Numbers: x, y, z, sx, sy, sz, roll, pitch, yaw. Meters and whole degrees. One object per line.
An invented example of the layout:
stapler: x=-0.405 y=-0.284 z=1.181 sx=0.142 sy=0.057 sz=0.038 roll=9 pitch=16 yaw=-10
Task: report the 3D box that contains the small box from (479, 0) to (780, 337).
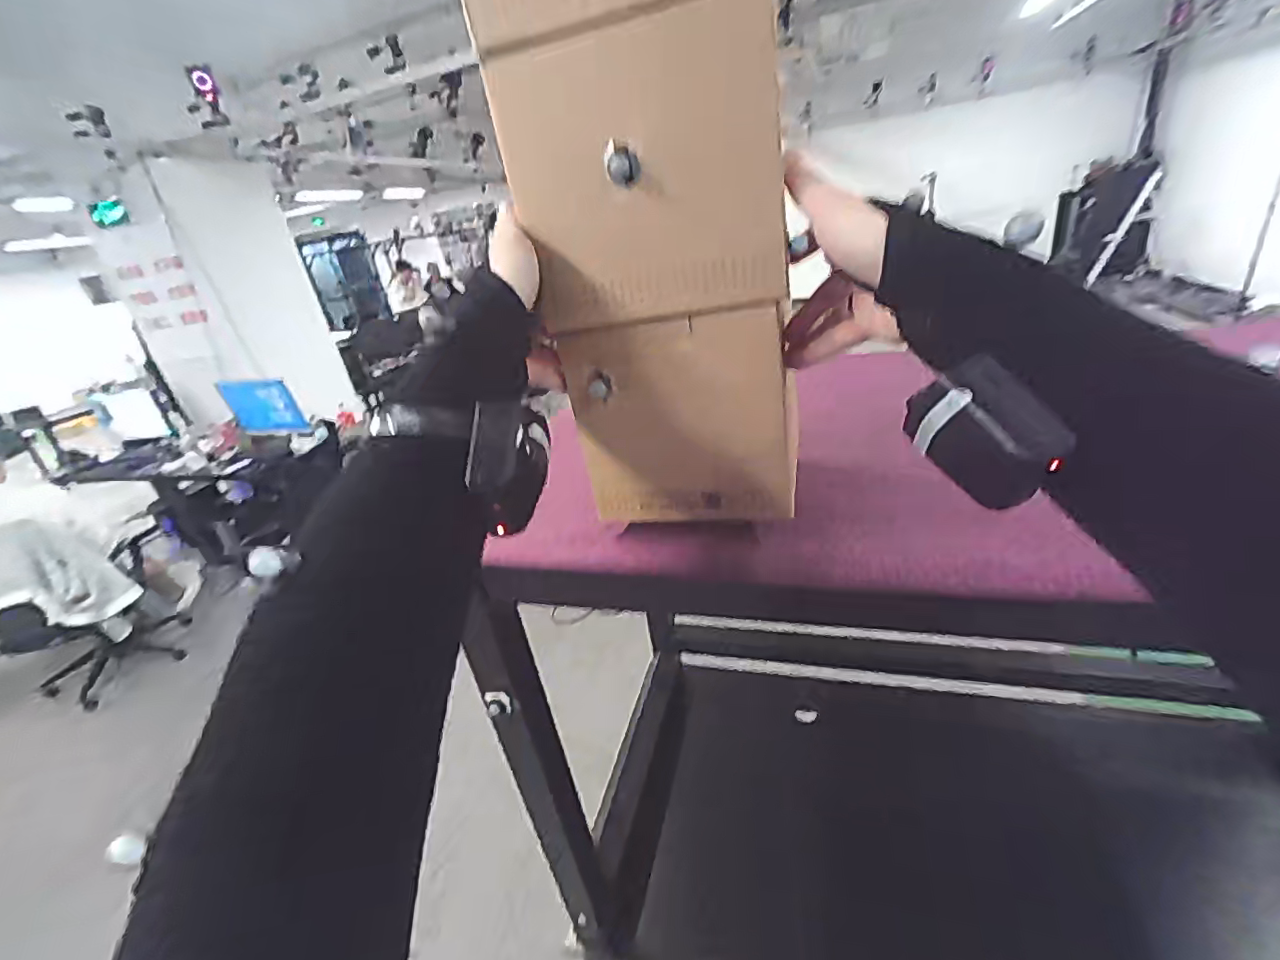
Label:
small box: x=0.014 y=-0.221 z=0.418 sx=0.179 sy=0.176 sz=0.168 roll=-5 pitch=26 yaw=17
